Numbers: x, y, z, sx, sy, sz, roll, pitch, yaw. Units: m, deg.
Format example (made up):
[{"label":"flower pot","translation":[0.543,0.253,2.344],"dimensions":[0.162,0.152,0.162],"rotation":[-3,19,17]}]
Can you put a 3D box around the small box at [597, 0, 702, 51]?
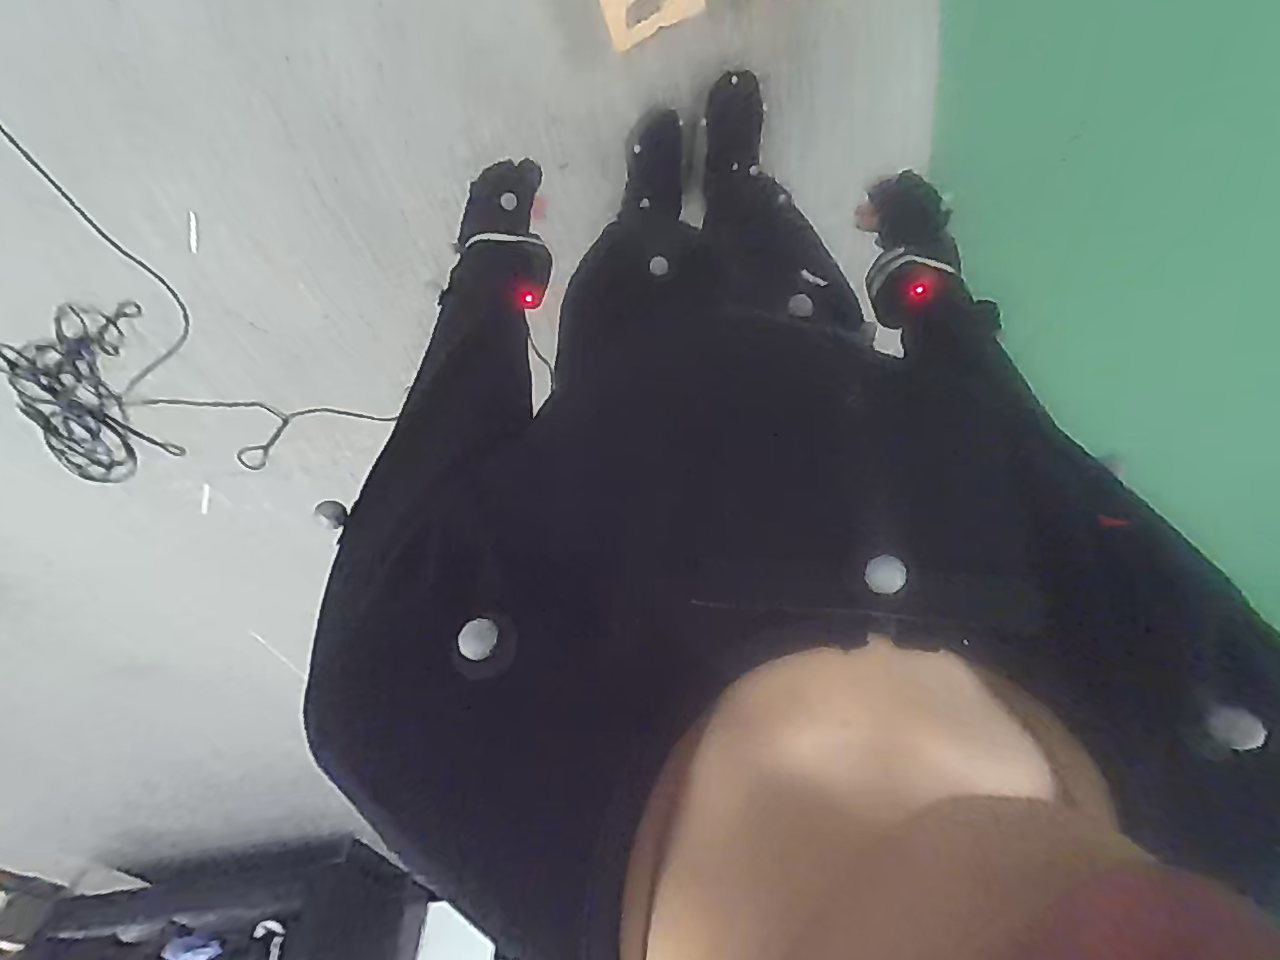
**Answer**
[{"label":"small box","translation":[-0.001,-0.880,0.932],"dimensions":[0.168,0.176,0.179],"rotation":[-18,126,11]}]
